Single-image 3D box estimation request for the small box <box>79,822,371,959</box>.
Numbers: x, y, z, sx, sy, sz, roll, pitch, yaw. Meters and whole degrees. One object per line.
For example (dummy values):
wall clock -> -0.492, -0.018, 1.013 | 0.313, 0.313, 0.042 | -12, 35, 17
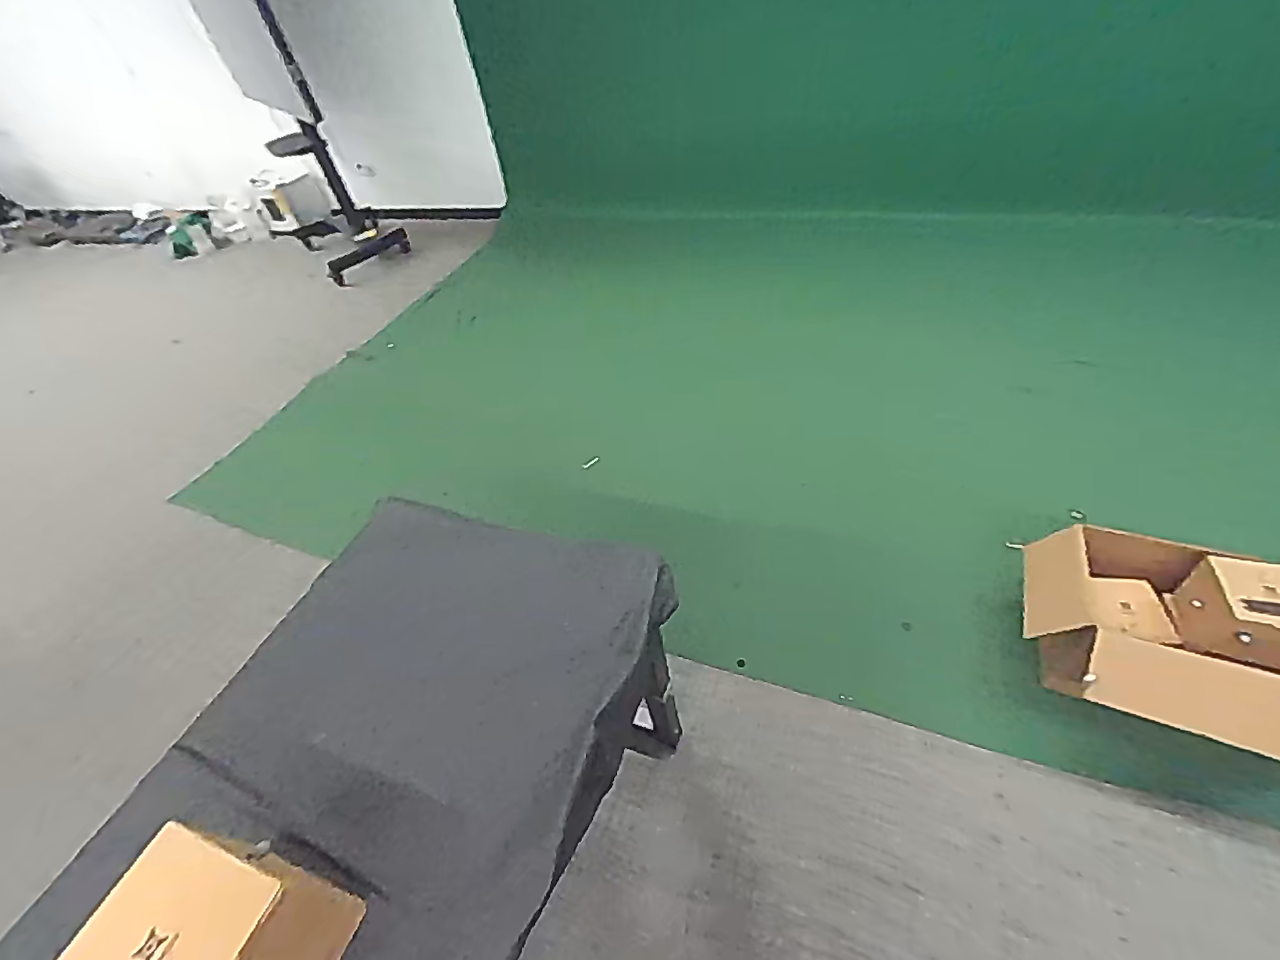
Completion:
small box -> -0.437, 0.504, 0.577 | 0.179, 0.176, 0.168 | 10, 49, 19
